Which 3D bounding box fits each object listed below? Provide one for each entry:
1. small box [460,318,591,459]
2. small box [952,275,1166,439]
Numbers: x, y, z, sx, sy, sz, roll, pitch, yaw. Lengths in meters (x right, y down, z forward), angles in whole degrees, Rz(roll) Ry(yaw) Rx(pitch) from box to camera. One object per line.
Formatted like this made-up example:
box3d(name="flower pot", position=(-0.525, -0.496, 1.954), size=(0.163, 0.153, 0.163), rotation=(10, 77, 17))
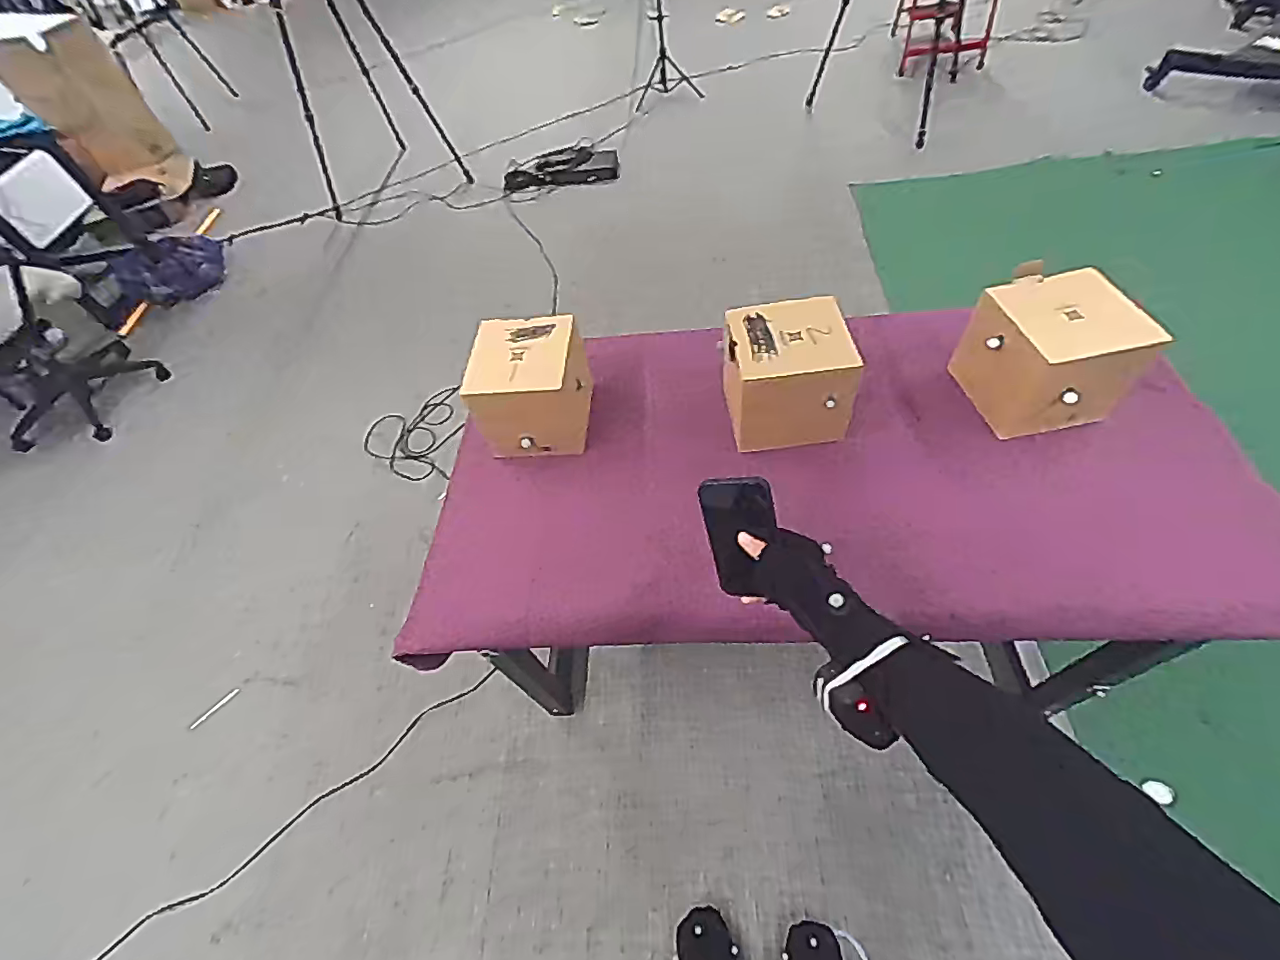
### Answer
box3d(name="small box", position=(-0.185, -0.154, 0.936), size=(0.168, 0.176, 0.179), rotation=(-2, 56, 8))
box3d(name="small box", position=(0.623, -0.181, 0.834), size=(0.168, 0.176, 0.179), rotation=(-11, 53, 1))
